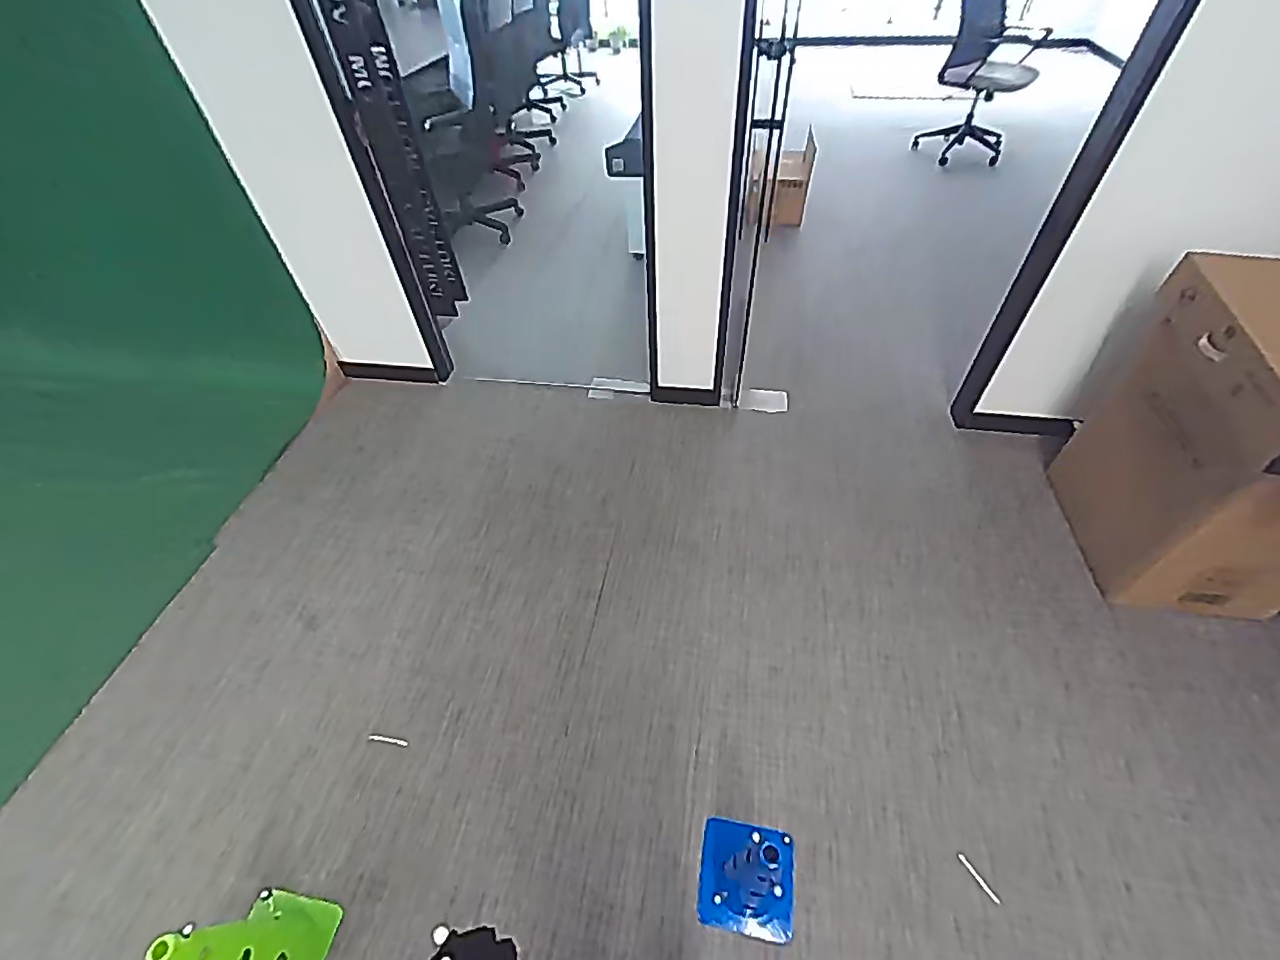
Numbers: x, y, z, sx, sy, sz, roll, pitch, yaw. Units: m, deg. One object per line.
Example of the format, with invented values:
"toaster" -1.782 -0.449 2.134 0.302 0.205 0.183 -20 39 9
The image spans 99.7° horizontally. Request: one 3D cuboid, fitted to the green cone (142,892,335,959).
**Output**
"green cone" -0.760 0.867 0.976 0.202 0.368 0.200 6 49 7
